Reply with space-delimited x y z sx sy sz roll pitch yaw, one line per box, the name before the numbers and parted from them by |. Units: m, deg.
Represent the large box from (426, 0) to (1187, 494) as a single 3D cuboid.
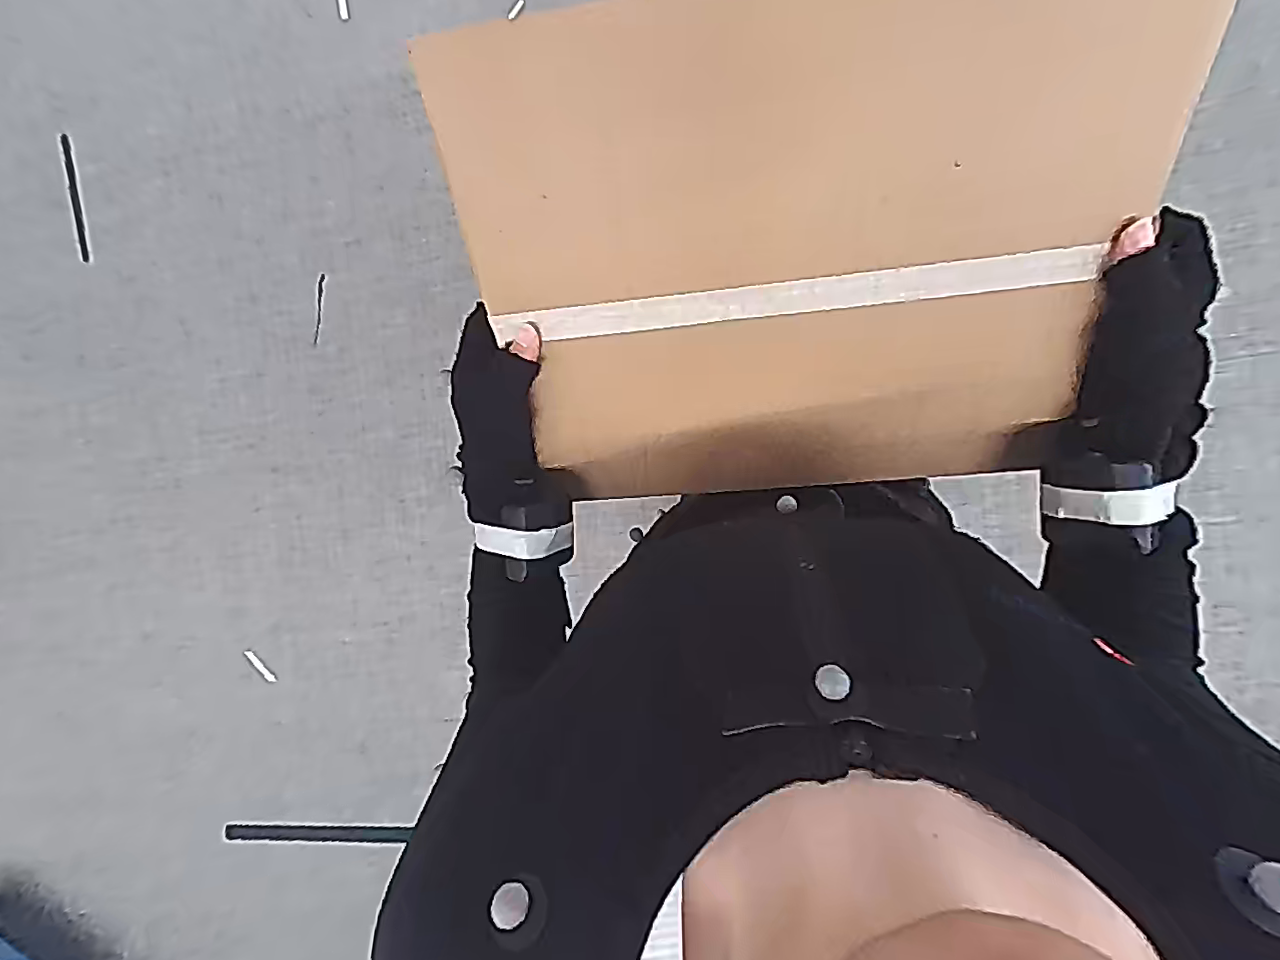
large box | 0.103 -0.215 0.485 0.408 0.320 0.320 -4 126 7
